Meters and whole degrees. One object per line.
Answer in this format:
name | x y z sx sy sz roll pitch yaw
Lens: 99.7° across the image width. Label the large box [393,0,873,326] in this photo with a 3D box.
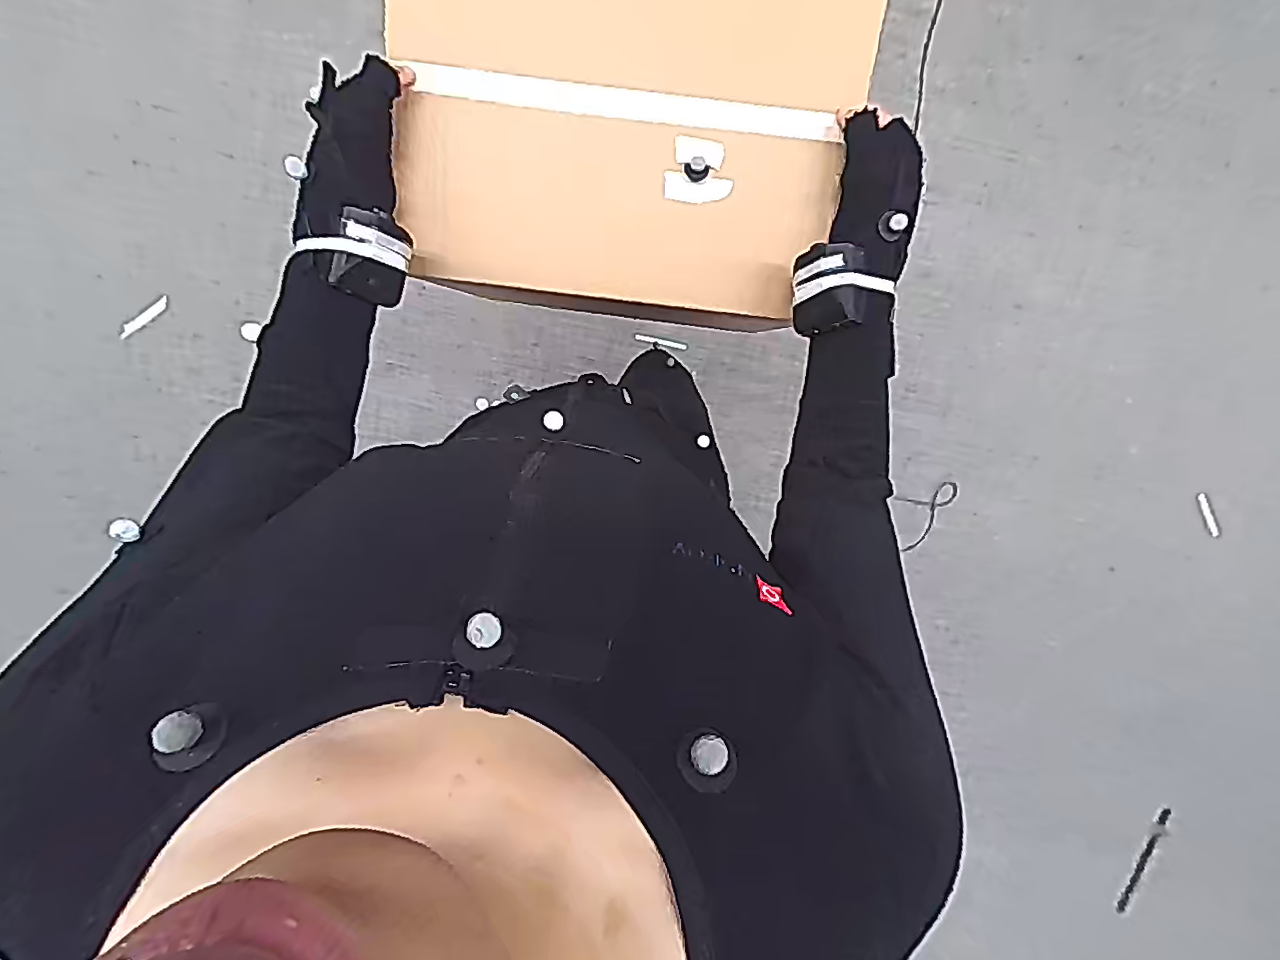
large box | -0.015 -0.356 0.610 0.408 0.320 0.320 6 104 -2
